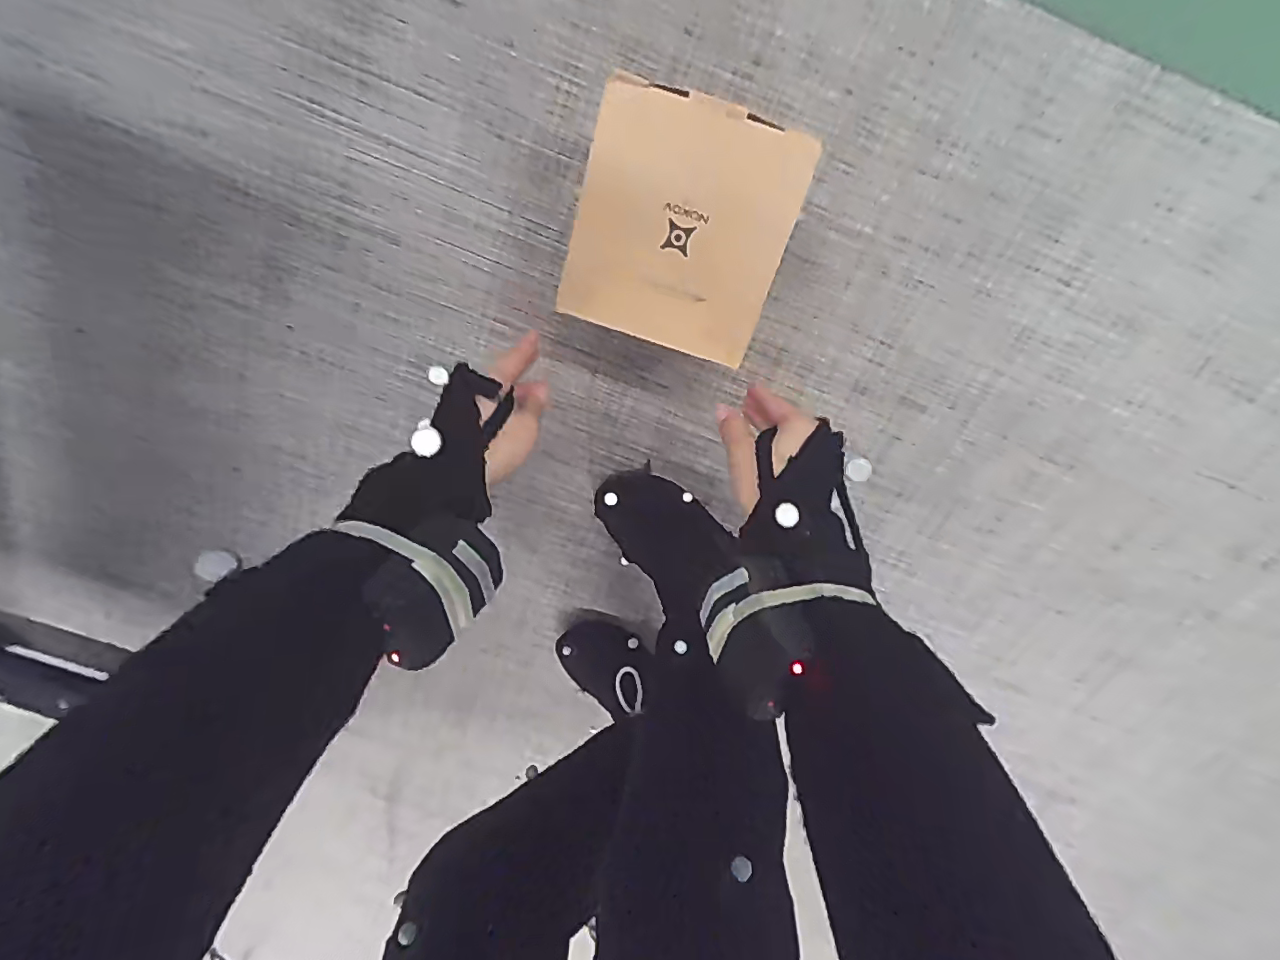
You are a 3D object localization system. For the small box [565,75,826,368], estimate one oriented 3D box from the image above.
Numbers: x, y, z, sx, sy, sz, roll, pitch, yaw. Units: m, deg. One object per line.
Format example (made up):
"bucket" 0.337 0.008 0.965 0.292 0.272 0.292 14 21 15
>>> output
"small box" 0.044 -0.224 0.498 0.168 0.176 0.179 17 113 0
